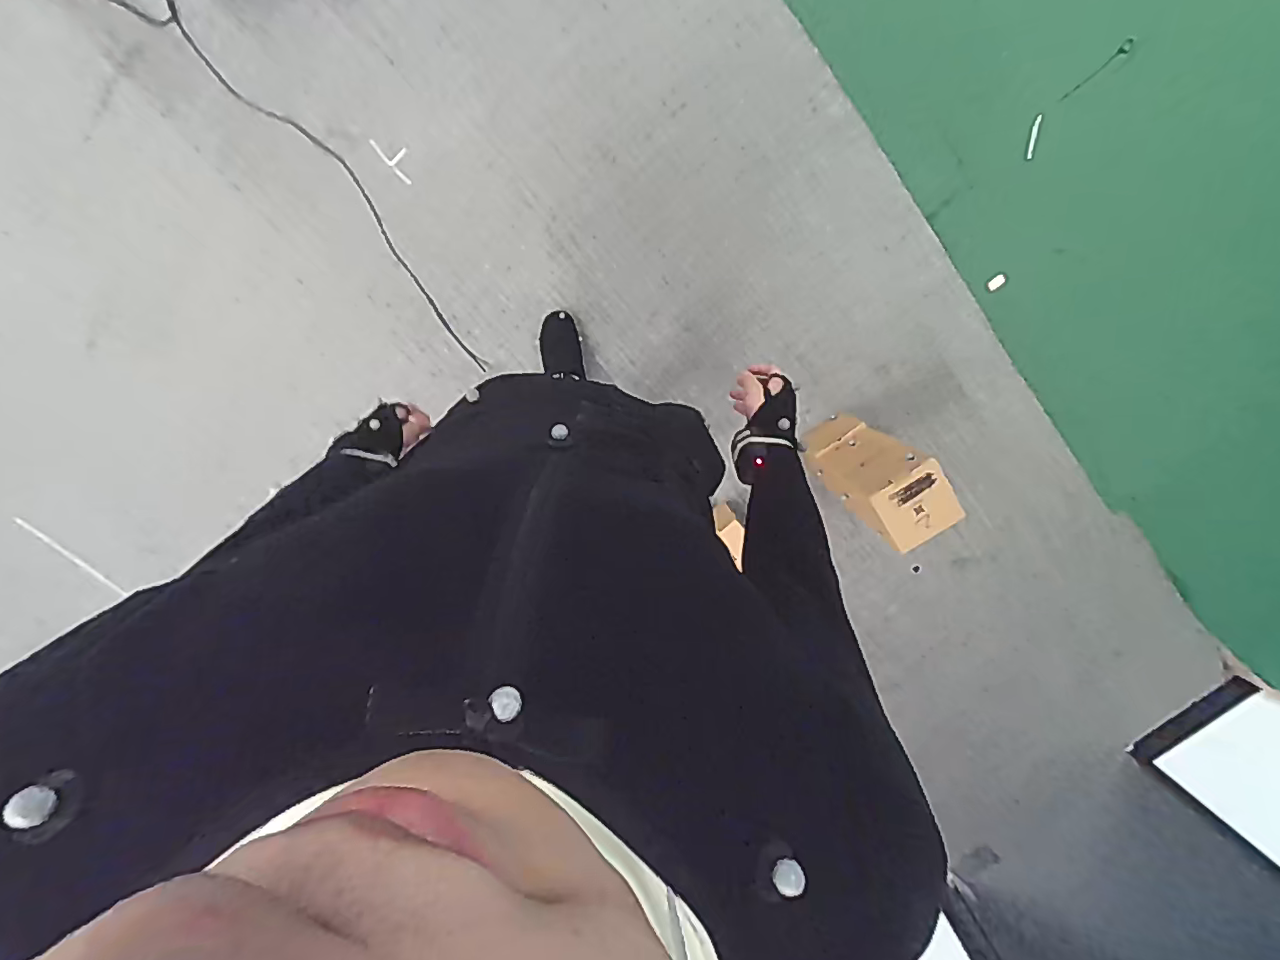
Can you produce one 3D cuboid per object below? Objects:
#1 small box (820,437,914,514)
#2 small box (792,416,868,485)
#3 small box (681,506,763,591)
[{"bbox_3d":[0.604,-0.017,1.455,0.179,0.176,0.168,-5,105,-3],"label":"small box"},{"bbox_3d":[0.580,-0.074,1.598,0.168,0.176,0.179,-35,107,7],"label":"small box"},{"bbox_3d":[0.243,0.198,1.655,0.168,0.176,0.179,-38,105,7],"label":"small box"}]
